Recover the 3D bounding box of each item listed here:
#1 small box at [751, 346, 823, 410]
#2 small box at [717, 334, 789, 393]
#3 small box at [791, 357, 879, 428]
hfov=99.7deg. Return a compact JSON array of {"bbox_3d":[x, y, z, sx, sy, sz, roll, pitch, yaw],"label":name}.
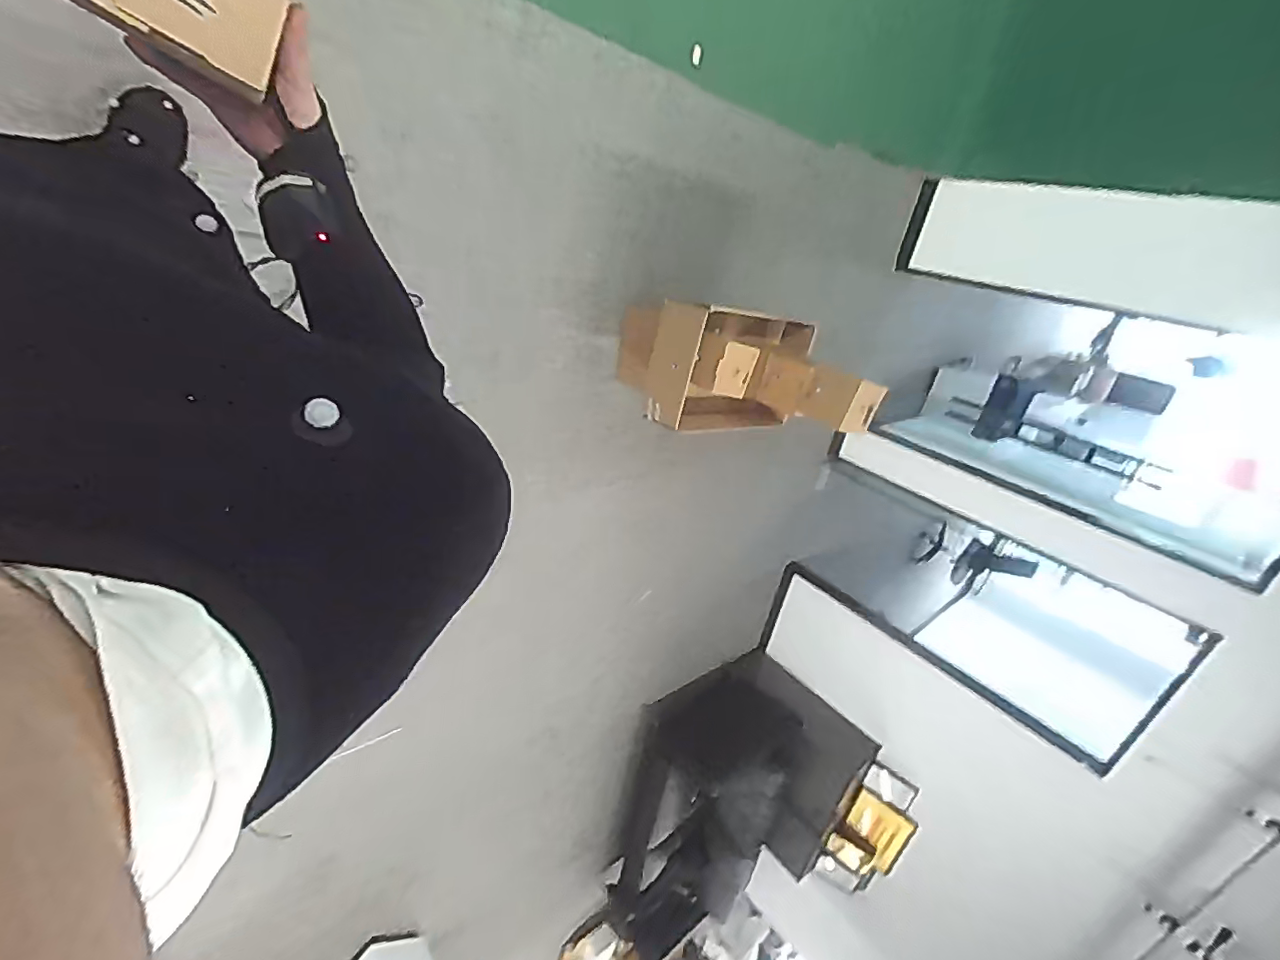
[{"bbox_3d":[0.506,-0.344,1.814,0.179,0.176,0.168,-9,123,-39],"label":"small box"},{"bbox_3d":[0.407,-0.415,1.921,0.179,0.176,0.168,-9,121,-40],"label":"small box"},{"bbox_3d":[0.613,-0.277,1.709,0.179,0.176,0.168,2,114,-44],"label":"small box"}]
